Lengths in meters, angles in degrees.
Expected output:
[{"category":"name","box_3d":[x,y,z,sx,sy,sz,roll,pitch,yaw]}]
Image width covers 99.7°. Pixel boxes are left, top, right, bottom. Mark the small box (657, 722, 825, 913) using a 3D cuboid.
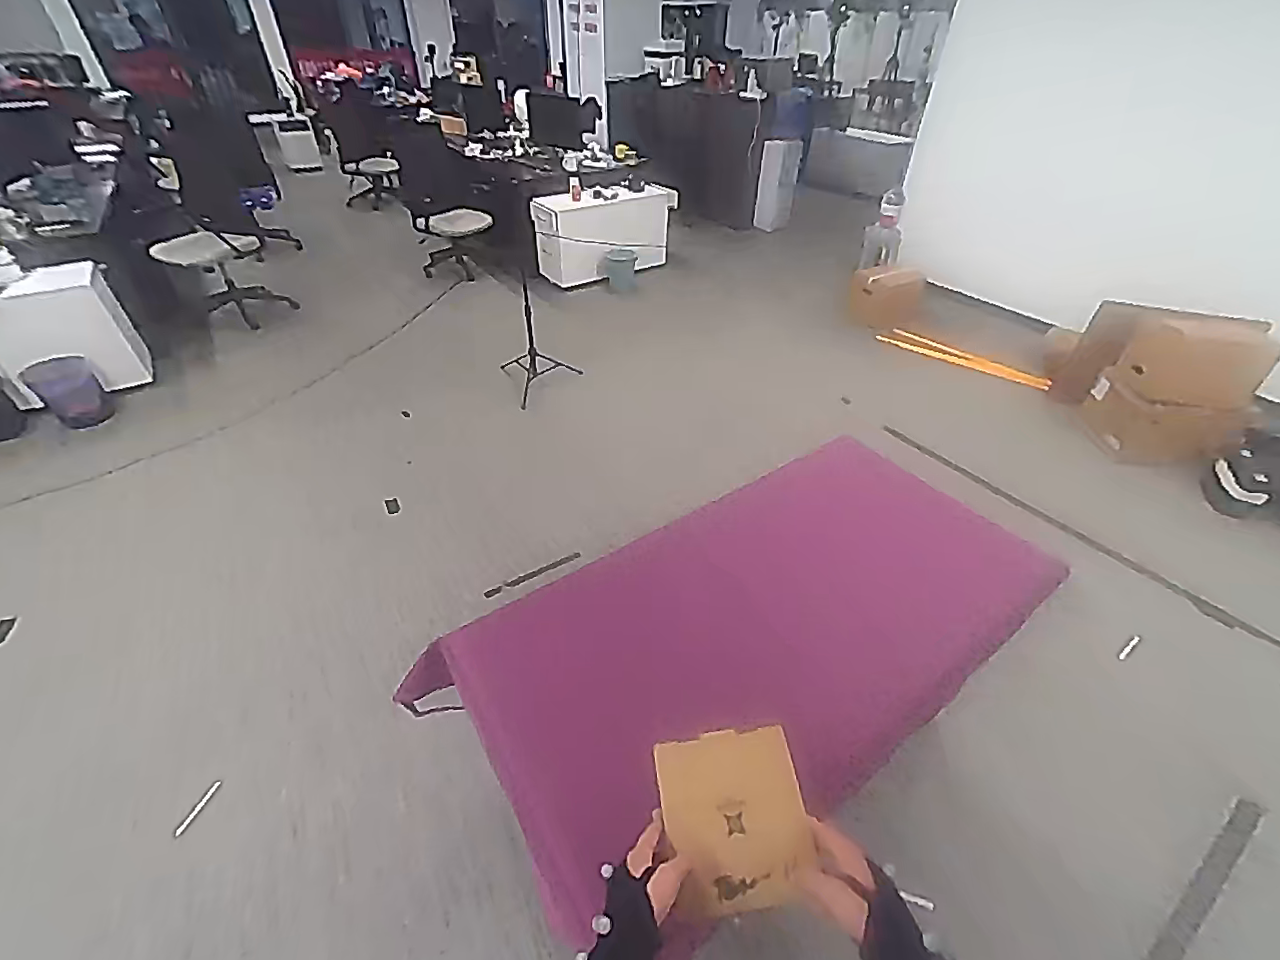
[{"category":"small box","box_3d":[0.113,0.431,0.695,0.168,0.176,0.179,-8,55,-2]}]
